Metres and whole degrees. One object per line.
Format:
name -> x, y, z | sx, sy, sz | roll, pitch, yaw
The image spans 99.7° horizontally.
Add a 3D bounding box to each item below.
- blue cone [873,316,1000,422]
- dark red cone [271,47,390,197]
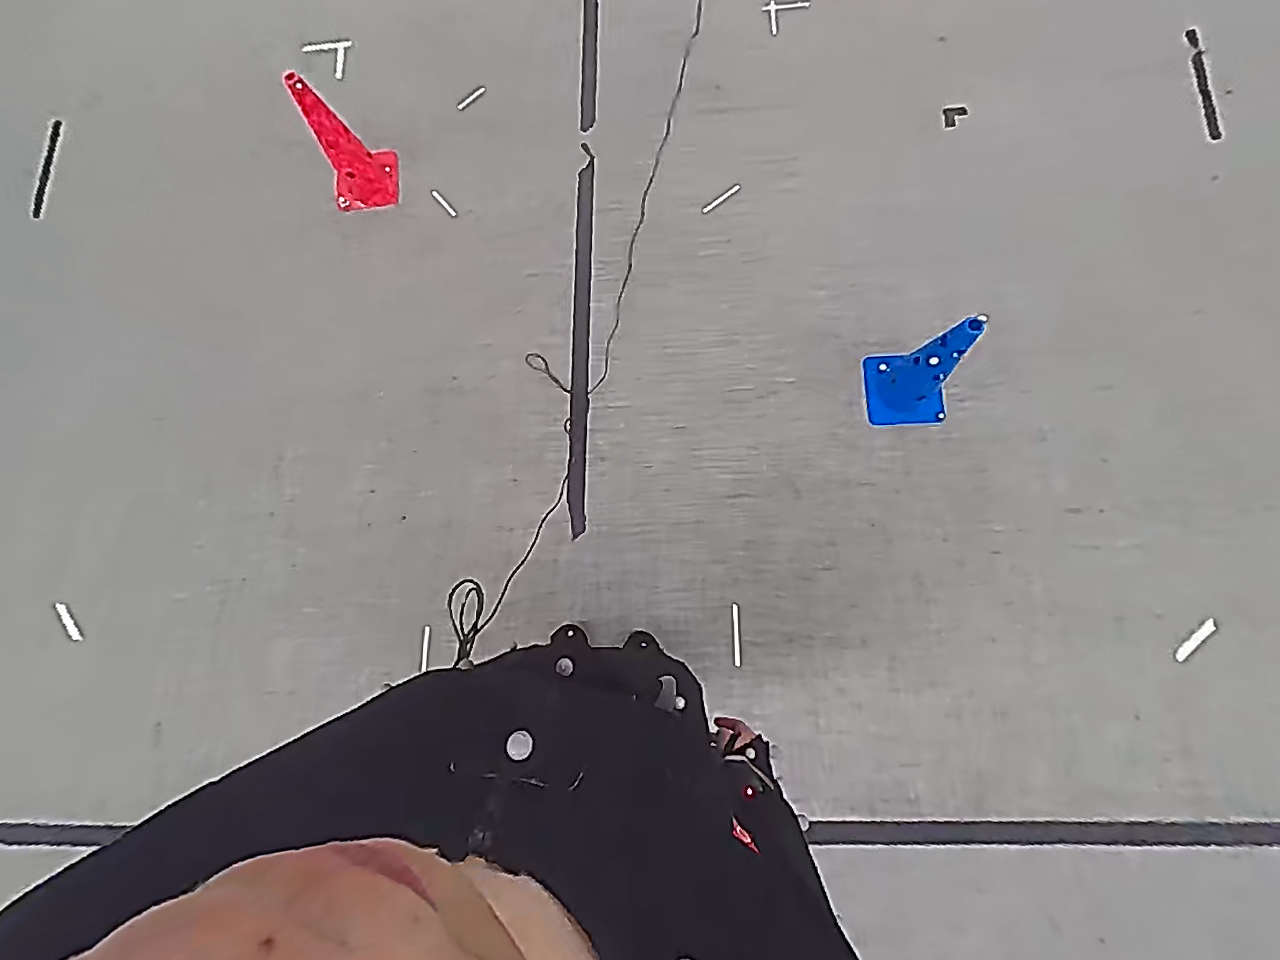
blue cone -> 0.713, -0.280, 1.280 | 0.192, 0.380, 0.193 | 0, 78, 3
dark red cone -> -0.878, -0.999, 1.509 | 0.201, 0.394, 0.202 | -8, 77, 1
